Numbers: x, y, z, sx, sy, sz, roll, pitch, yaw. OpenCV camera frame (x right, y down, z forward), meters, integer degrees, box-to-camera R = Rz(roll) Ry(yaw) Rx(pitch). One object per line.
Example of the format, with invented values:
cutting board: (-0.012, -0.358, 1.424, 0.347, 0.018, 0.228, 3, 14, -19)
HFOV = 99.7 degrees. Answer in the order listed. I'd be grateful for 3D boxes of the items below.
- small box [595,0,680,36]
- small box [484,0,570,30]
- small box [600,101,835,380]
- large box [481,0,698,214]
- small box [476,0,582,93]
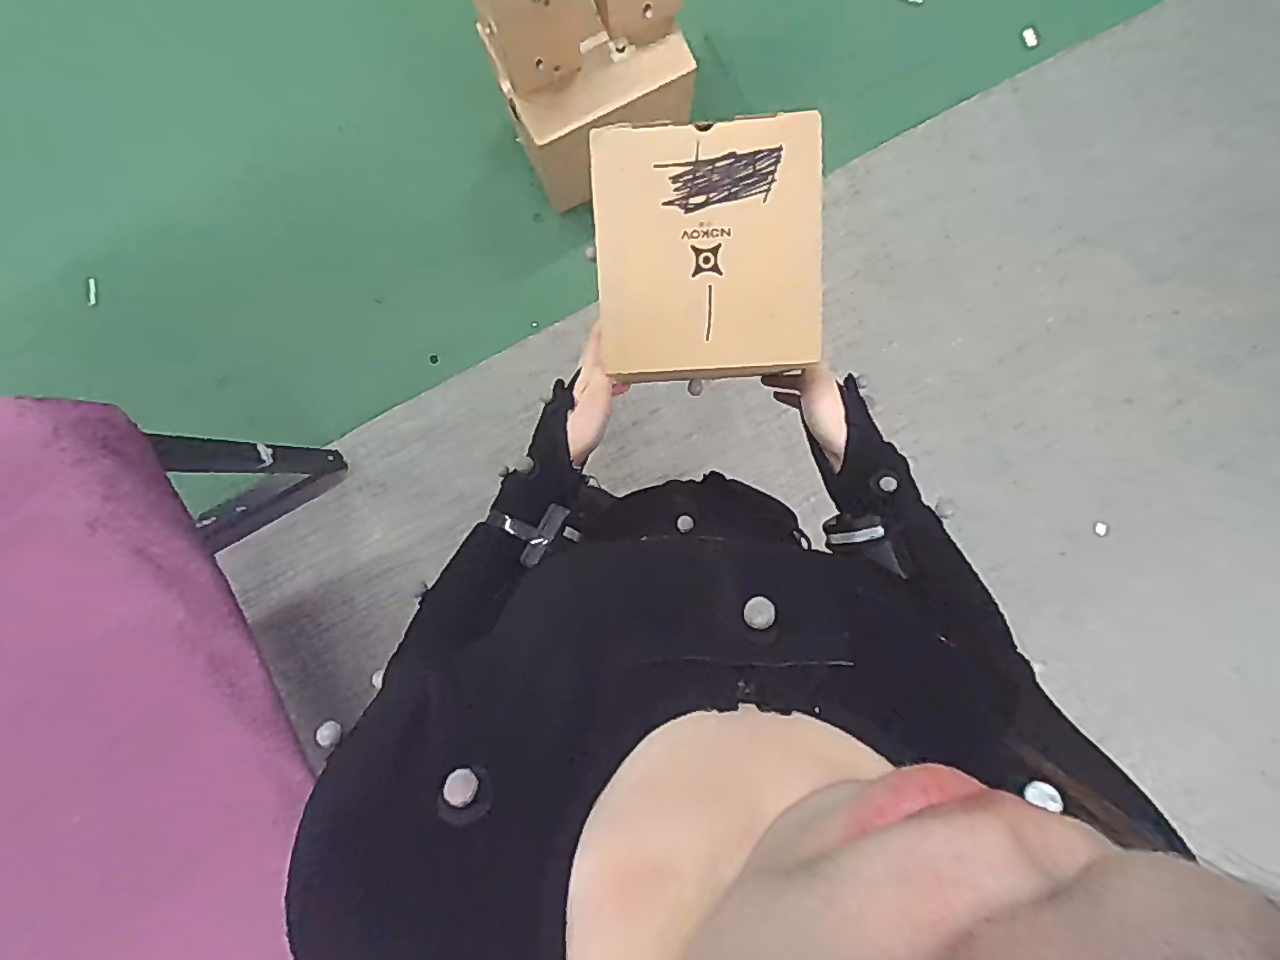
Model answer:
small box: (-0.012, -1.071, 1.103, 0.179, 0.176, 0.168, -21, 89, 0)
small box: (-0.228, -0.955, 0.942, 0.168, 0.176, 0.179, -28, 90, 0)
small box: (0.058, -0.181, 0.462, 0.168, 0.176, 0.179, -2, 98, 4)
large box: (-0.114, -0.955, 1.348, 0.408, 0.320, 0.320, -27, 90, -1)
small box: (-0.232, -0.955, 1.106, 0.168, 0.176, 0.179, -26, 90, -1)
